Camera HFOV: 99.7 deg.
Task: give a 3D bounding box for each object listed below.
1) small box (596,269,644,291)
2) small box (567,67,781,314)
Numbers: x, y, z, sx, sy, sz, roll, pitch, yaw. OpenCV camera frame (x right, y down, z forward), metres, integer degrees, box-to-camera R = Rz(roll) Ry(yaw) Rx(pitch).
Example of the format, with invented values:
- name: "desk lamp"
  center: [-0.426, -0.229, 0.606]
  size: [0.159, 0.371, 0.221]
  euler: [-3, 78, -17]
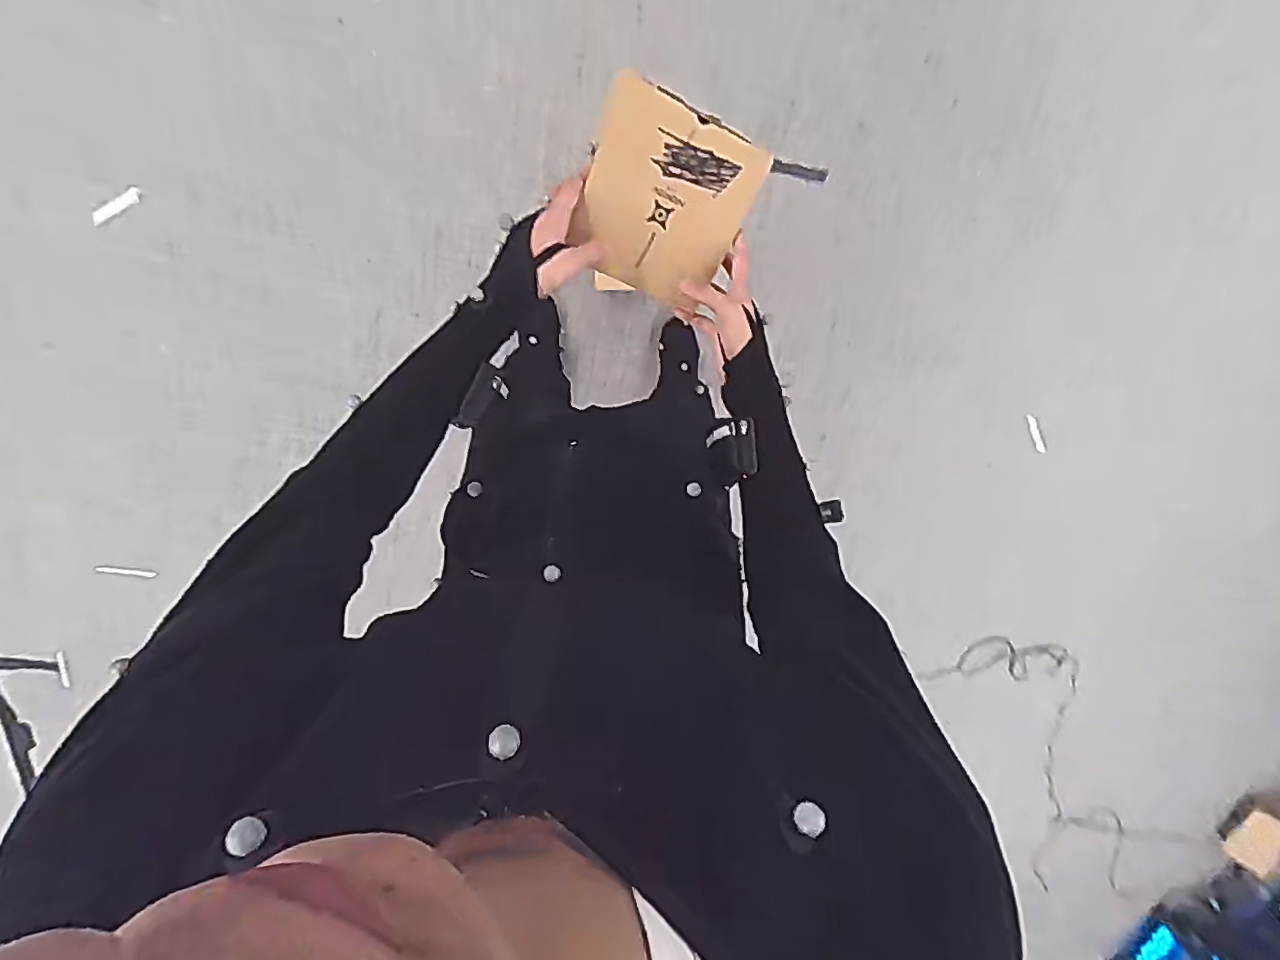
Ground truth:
- name: "small box"
  center: [-0.025, -0.562, 1.333]
  size: [0.168, 0.176, 0.179]
  euler: [-1, 113, -5]
- name: "small box"
  center: [0.022, -0.322, 0.606]
  size: [0.168, 0.176, 0.179]
  euler: [18, 122, -19]
